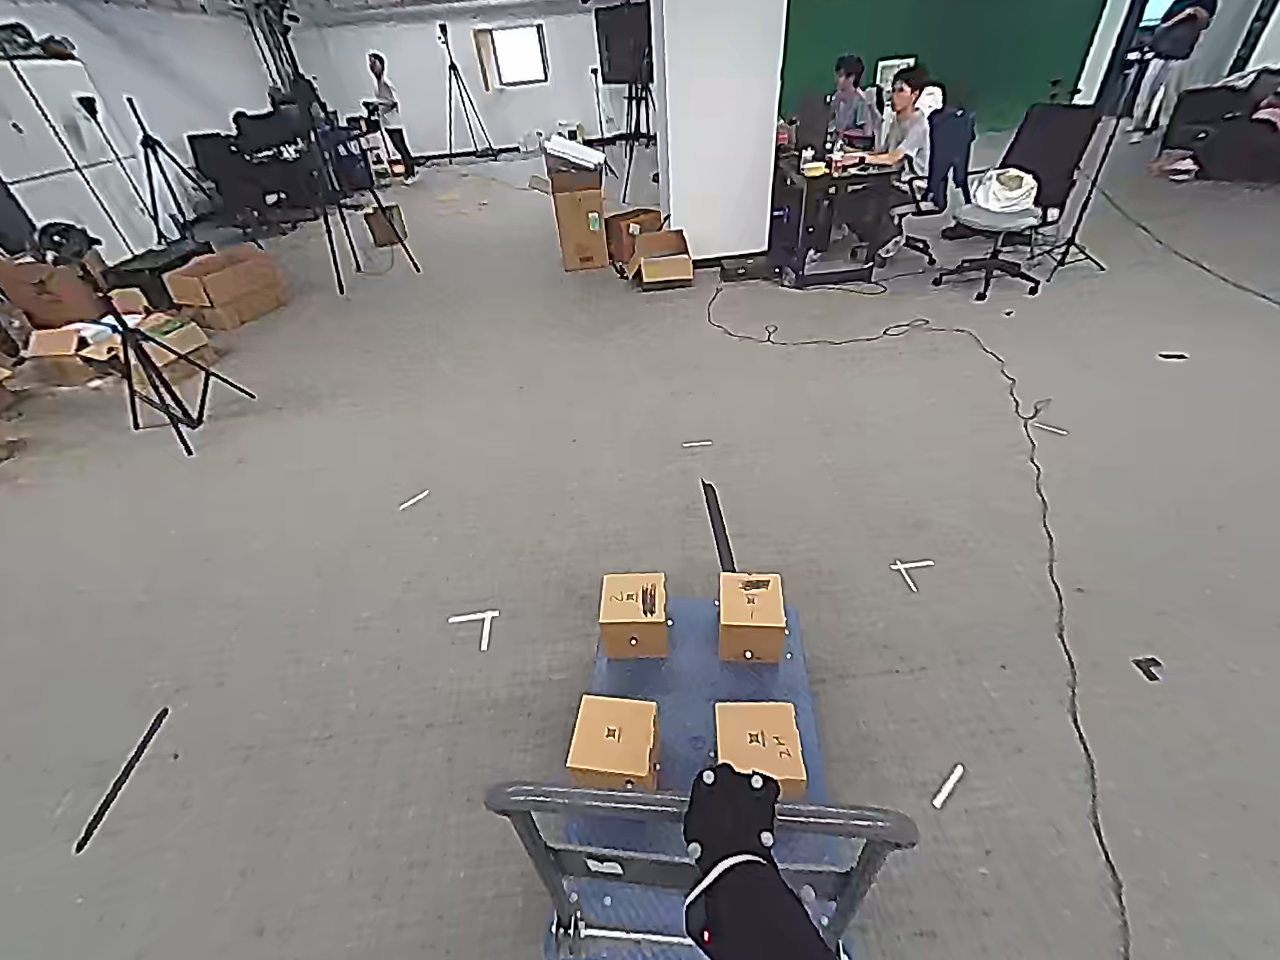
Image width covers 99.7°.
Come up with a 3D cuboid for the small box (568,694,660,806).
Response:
[{"bbox_3d":[-0.051,0.614,1.229,0.179,0.176,0.168,3,39,8],"label":"small box"}]

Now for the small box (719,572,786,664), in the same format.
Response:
[{"bbox_3d":[0.303,0.377,1.483,0.168,0.176,0.179,1,40,8],"label":"small box"}]

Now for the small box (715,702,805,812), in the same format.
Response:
[{"bbox_3d":[0.257,0.611,1.193,0.179,0.176,0.168,-1,39,5],"label":"small box"}]
